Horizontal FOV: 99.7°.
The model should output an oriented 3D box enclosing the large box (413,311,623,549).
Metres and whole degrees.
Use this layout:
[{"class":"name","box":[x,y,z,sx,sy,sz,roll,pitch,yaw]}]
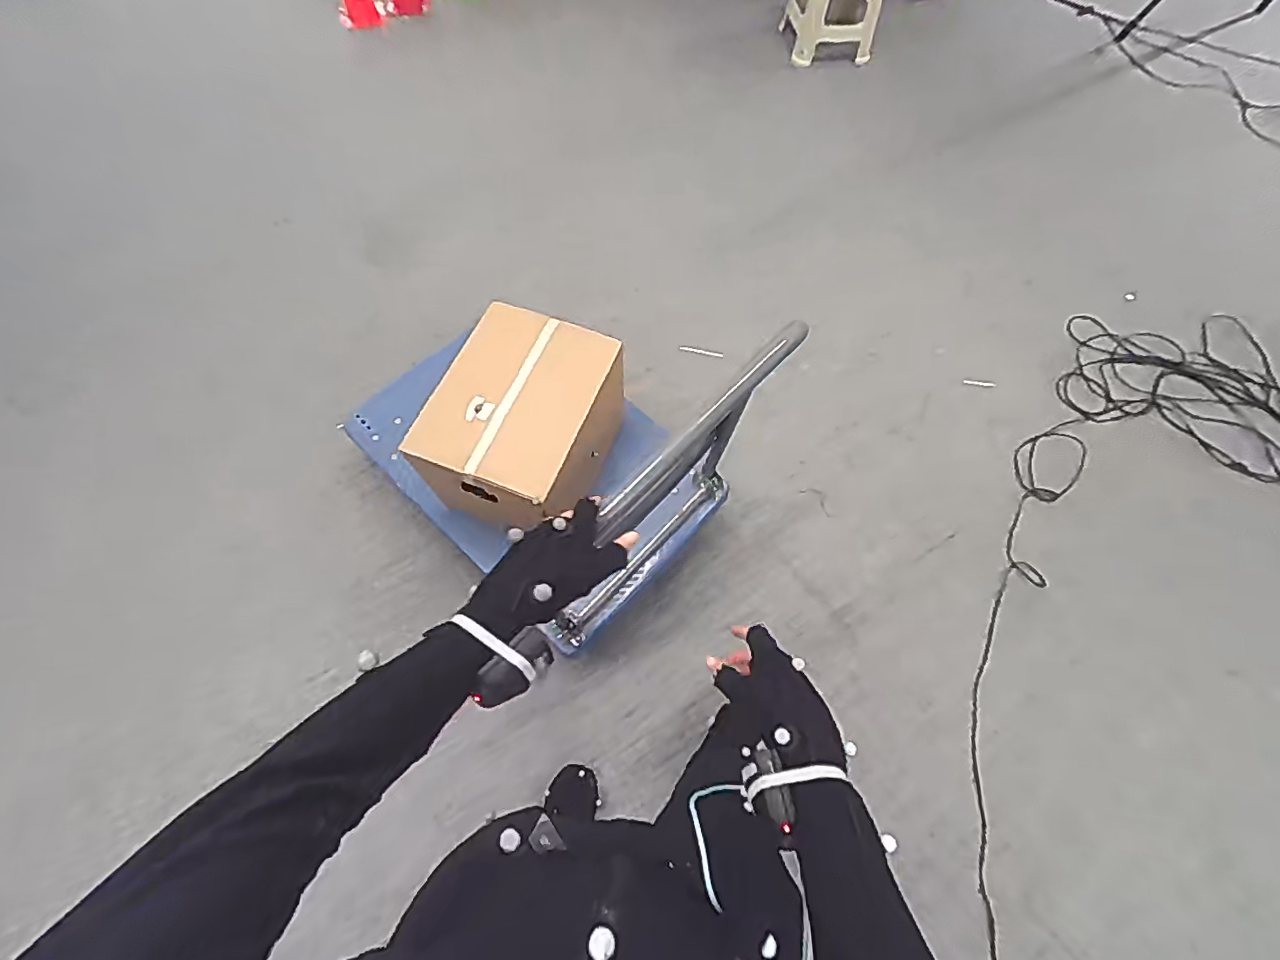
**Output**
[{"class":"large box","box":[-0.244,-0.105,1.253,0.320,0.320,0.408,18,68,8]}]
